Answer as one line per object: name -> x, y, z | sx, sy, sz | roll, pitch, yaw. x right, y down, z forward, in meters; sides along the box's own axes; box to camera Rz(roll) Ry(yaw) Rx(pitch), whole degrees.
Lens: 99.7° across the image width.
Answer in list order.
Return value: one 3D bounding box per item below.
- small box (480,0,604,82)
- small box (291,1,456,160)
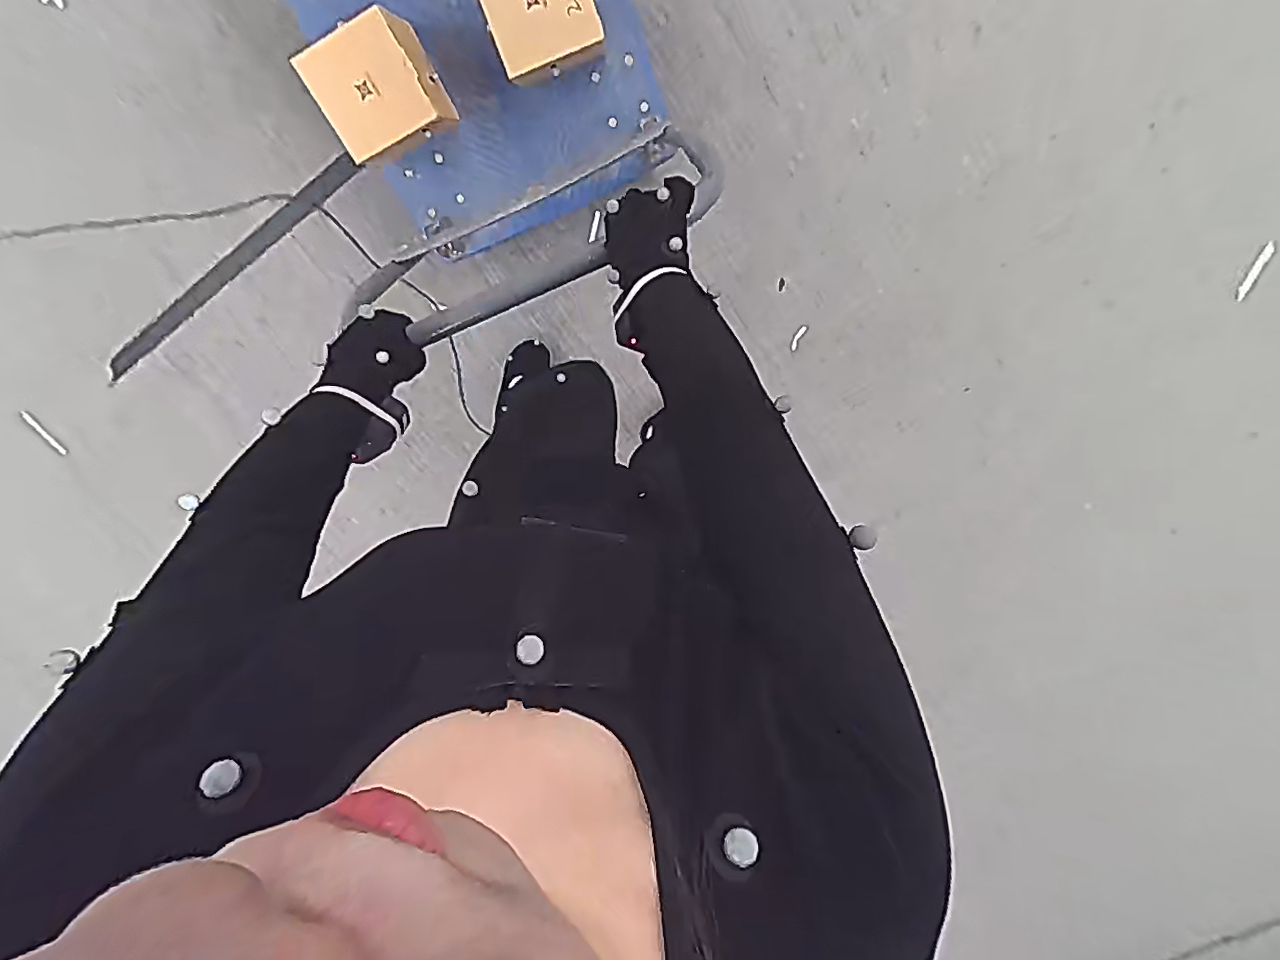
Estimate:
small box -> -0.167, -0.806, 0.916 | 0.179, 0.176, 0.168 | -18, 121, 7
small box -> -0.460, -0.695, 0.966 | 0.179, 0.176, 0.168 | -24, 119, 9
